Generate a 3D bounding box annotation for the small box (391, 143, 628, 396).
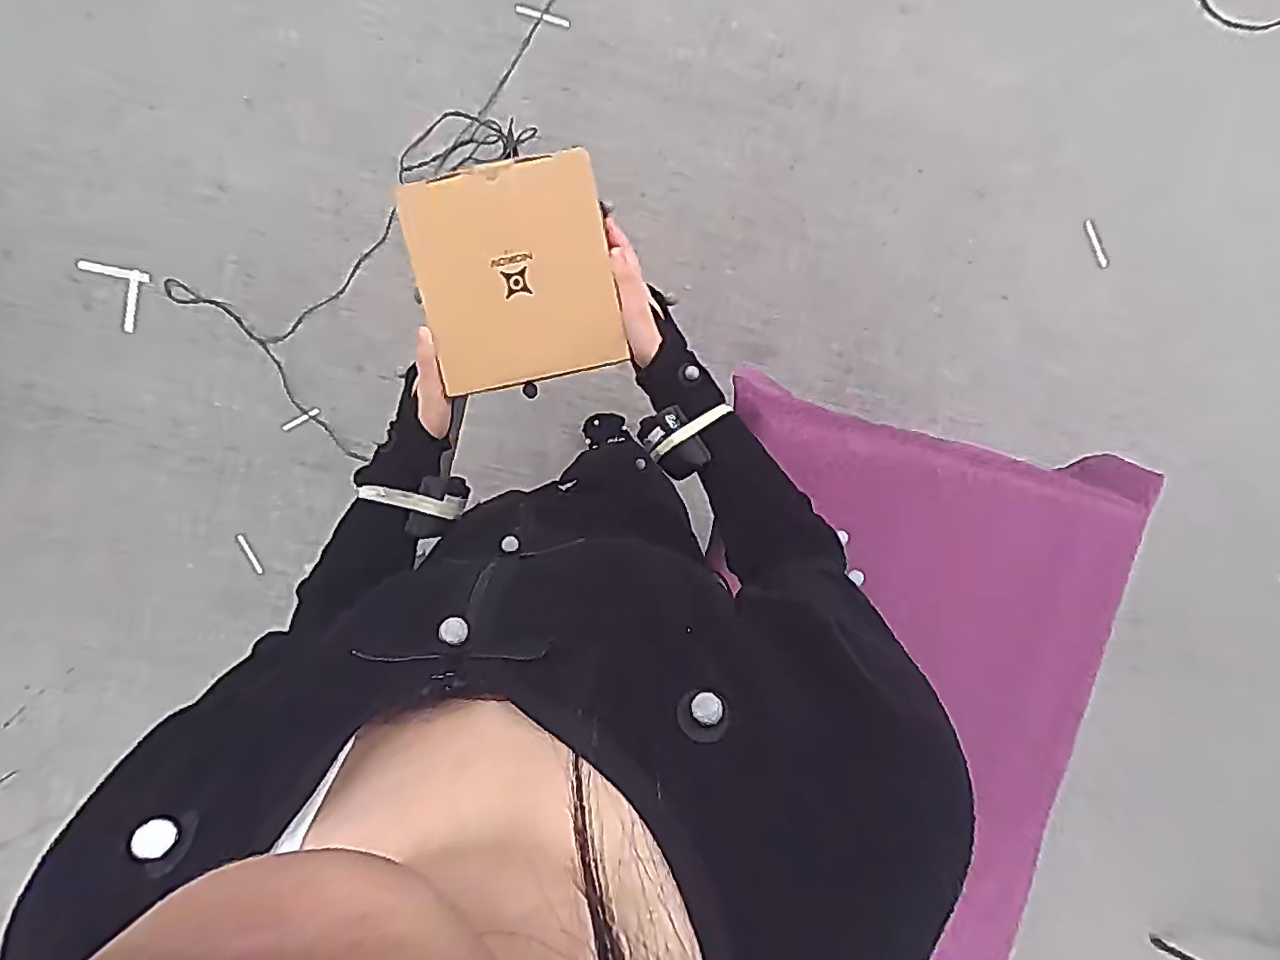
[{"bbox_3d":[-0.108,-0.188,0.531,0.168,0.176,0.179,-13,100,-1],"label":"small box"}]
